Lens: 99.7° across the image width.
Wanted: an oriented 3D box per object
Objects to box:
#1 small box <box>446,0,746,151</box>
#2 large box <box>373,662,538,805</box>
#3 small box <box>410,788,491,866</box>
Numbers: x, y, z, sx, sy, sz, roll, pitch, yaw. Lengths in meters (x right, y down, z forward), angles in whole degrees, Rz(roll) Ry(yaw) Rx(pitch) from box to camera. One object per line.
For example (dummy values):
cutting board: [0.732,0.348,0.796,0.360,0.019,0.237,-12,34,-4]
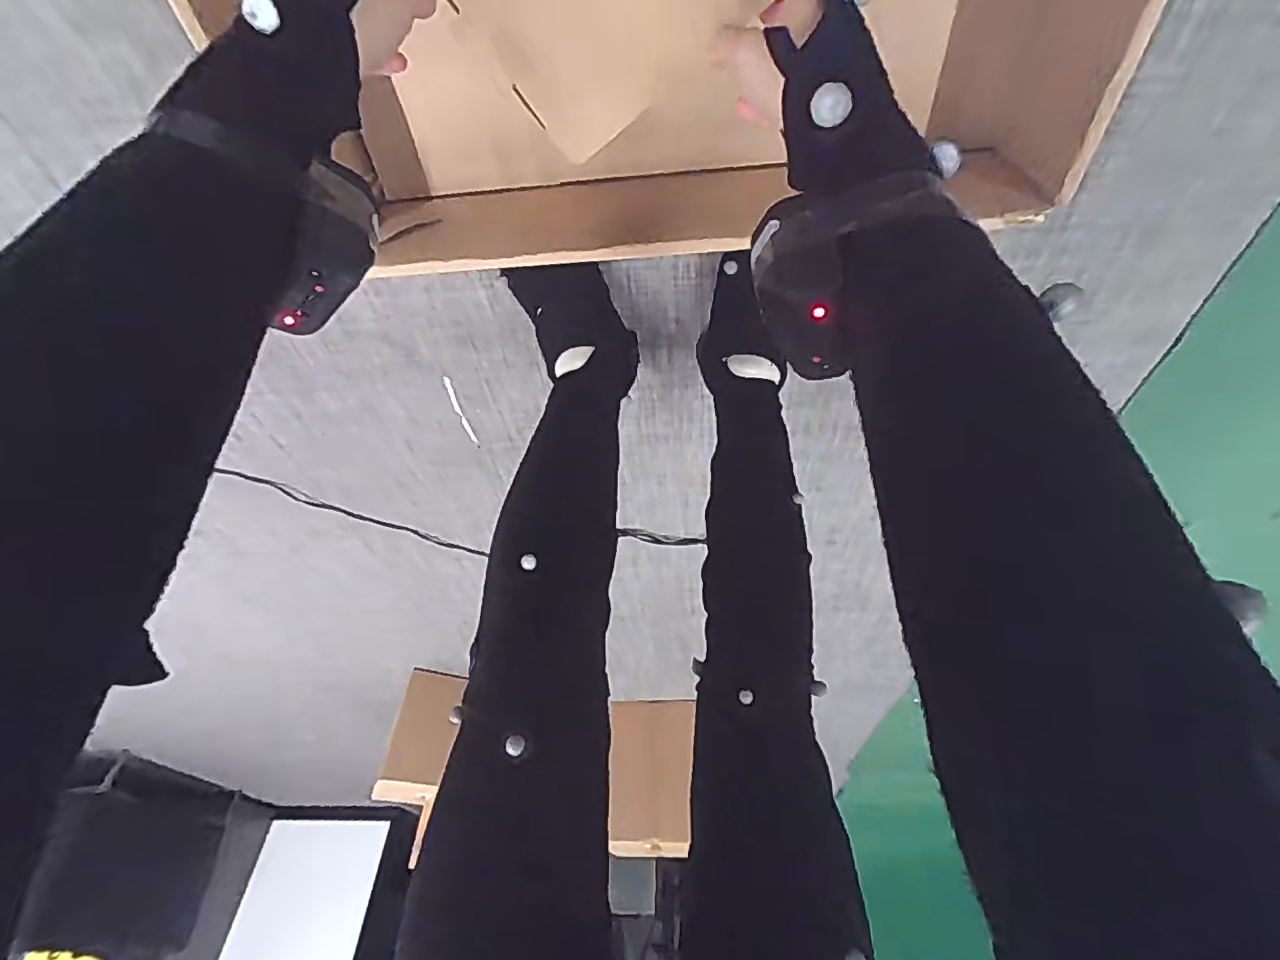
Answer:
small box: [-0.029,-0.361,0.340,0.179,0.176,0.168,-24,134,28]
large box: [-0.579,0.814,1.721,0.408,0.320,0.320,19,136,-17]
small box: [-0.551,1.017,1.582,0.168,0.176,0.179,21,137,-20]
